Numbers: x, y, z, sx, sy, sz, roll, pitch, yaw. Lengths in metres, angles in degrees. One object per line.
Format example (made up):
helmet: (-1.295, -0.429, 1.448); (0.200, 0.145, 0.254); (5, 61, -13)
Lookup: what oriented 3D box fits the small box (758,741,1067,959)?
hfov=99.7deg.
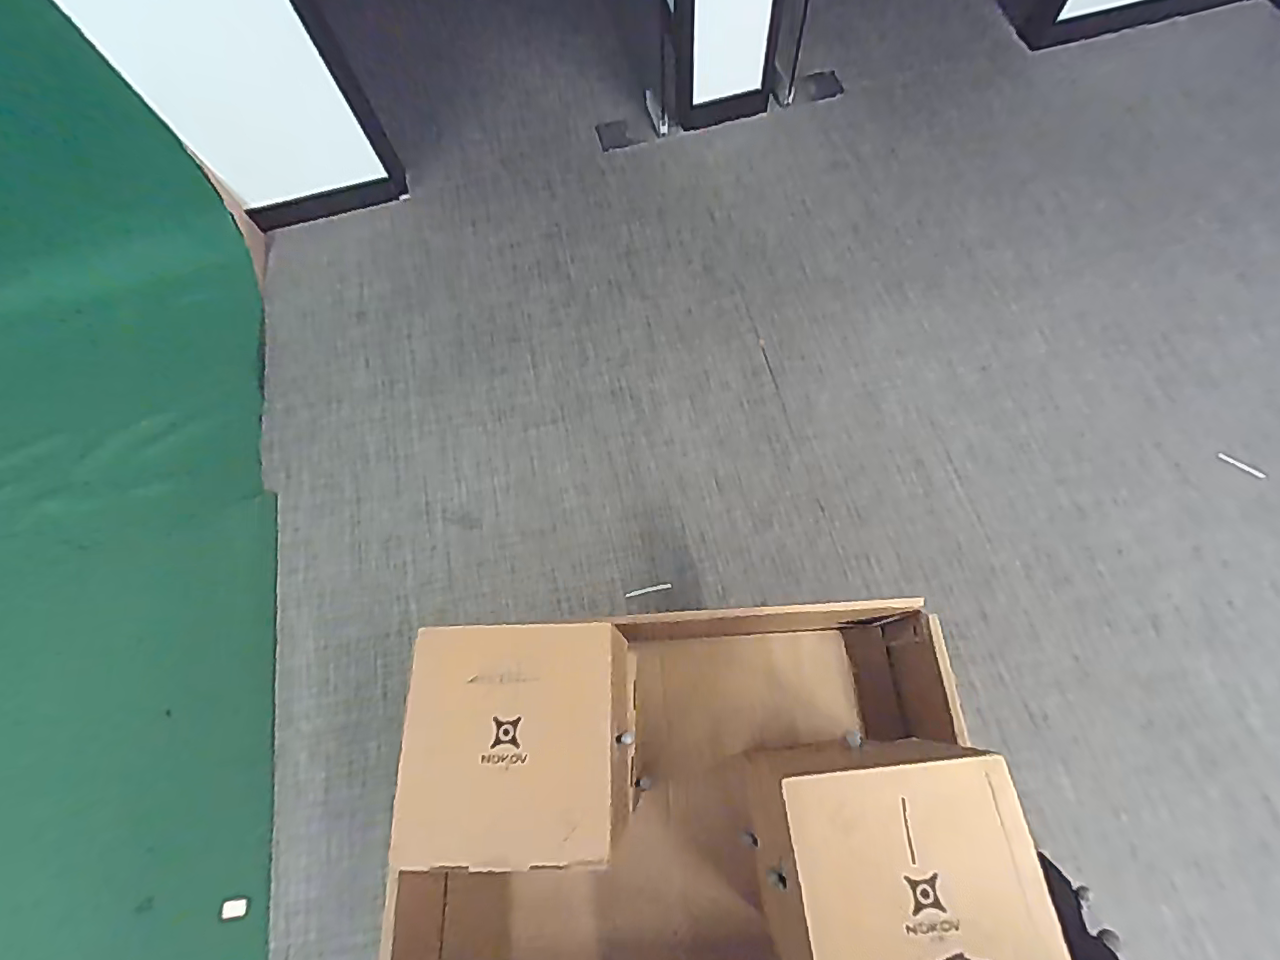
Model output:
small box: (0.199, 0.322, 0.439); (0.168, 0.176, 0.179); (-7, 67, 1)

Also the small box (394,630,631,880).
small box: (-0.096, 0.236, 0.496); (0.168, 0.176, 0.179); (-2, 68, 3)
